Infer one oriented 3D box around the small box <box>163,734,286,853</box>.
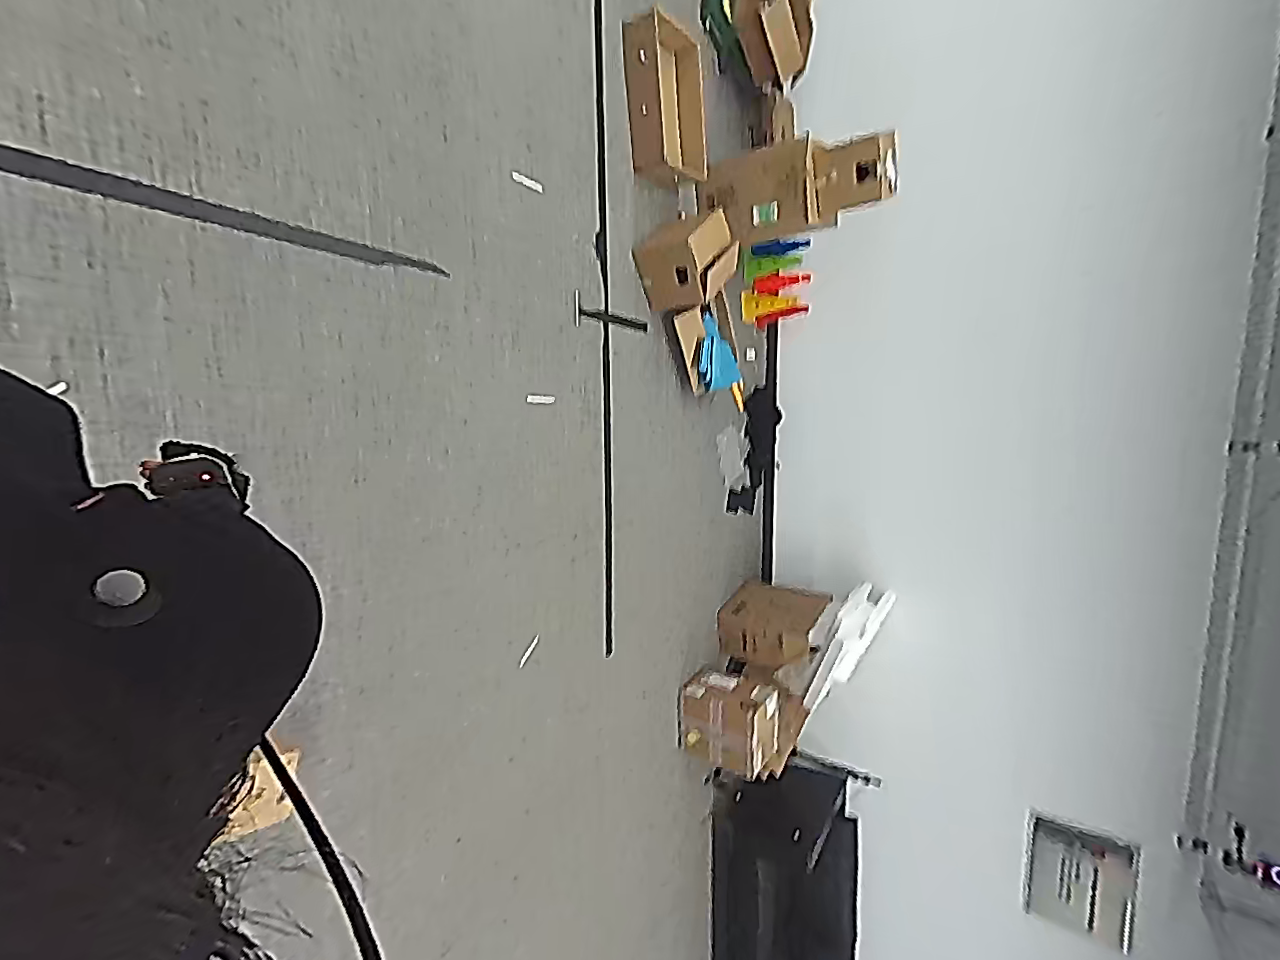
[{"bbox_3d":[-0.980,0.725,1.273,0.179,0.176,0.168,14,82,-56],"label":"small box"}]
